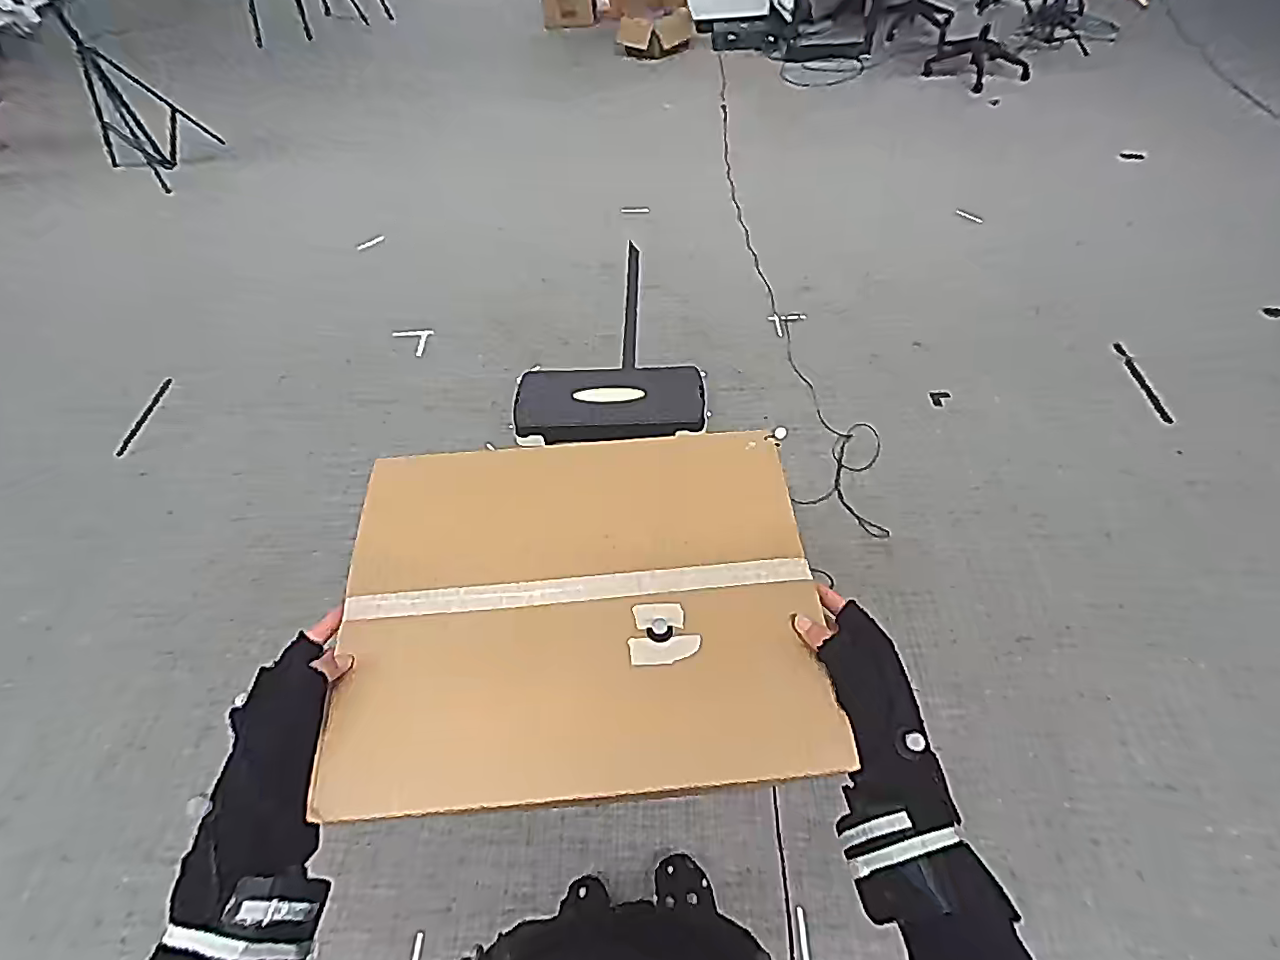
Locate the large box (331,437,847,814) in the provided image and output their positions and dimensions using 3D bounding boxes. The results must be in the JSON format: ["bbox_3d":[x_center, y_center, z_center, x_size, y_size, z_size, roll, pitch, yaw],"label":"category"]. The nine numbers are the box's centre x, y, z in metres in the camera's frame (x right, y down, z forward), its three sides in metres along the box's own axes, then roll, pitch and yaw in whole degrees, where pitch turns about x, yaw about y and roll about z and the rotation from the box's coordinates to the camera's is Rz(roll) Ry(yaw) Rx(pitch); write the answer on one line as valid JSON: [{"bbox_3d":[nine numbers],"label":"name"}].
[{"bbox_3d":[-0.047,0.178,0.613,0.408,0.320,0.320,-4,59,-2],"label":"large box"}]
